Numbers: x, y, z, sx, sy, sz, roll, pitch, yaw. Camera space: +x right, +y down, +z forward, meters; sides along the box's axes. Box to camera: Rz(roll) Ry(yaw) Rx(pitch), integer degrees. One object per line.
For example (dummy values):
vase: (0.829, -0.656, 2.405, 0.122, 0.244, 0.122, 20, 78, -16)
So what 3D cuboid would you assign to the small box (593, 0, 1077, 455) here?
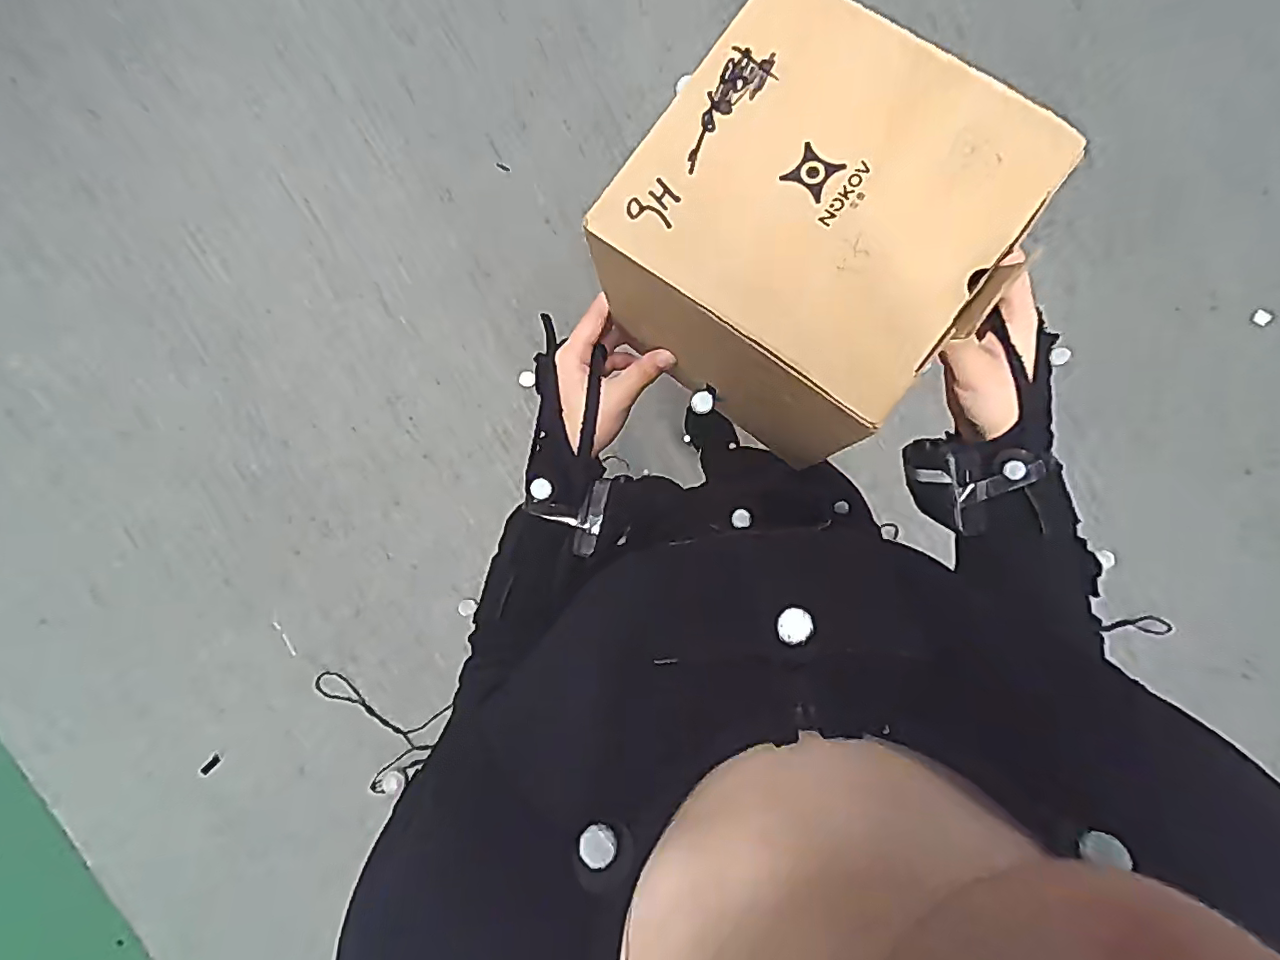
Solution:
small box: (0.098, -0.130, 0.342, 0.179, 0.176, 0.168, 38, 88, 6)
